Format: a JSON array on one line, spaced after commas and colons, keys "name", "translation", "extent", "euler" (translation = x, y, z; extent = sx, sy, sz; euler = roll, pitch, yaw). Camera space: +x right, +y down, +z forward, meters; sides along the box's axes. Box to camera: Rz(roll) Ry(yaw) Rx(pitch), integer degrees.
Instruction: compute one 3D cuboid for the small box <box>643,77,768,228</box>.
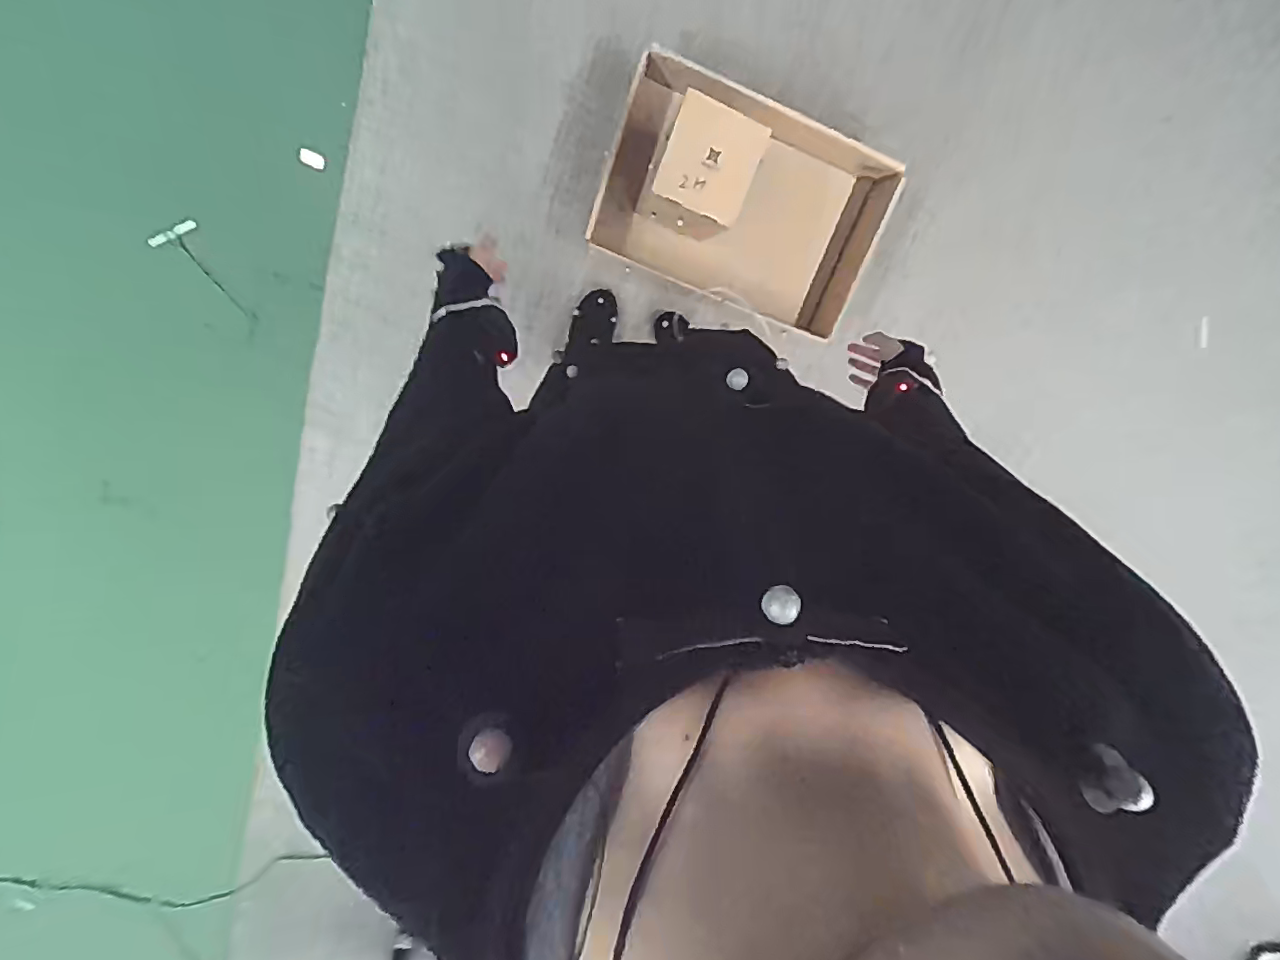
[{"name": "small box", "translation": [0.112, -0.606, 1.027], "extent": [0.168, 0.176, 0.179], "euler": [21, 107, -11]}]
